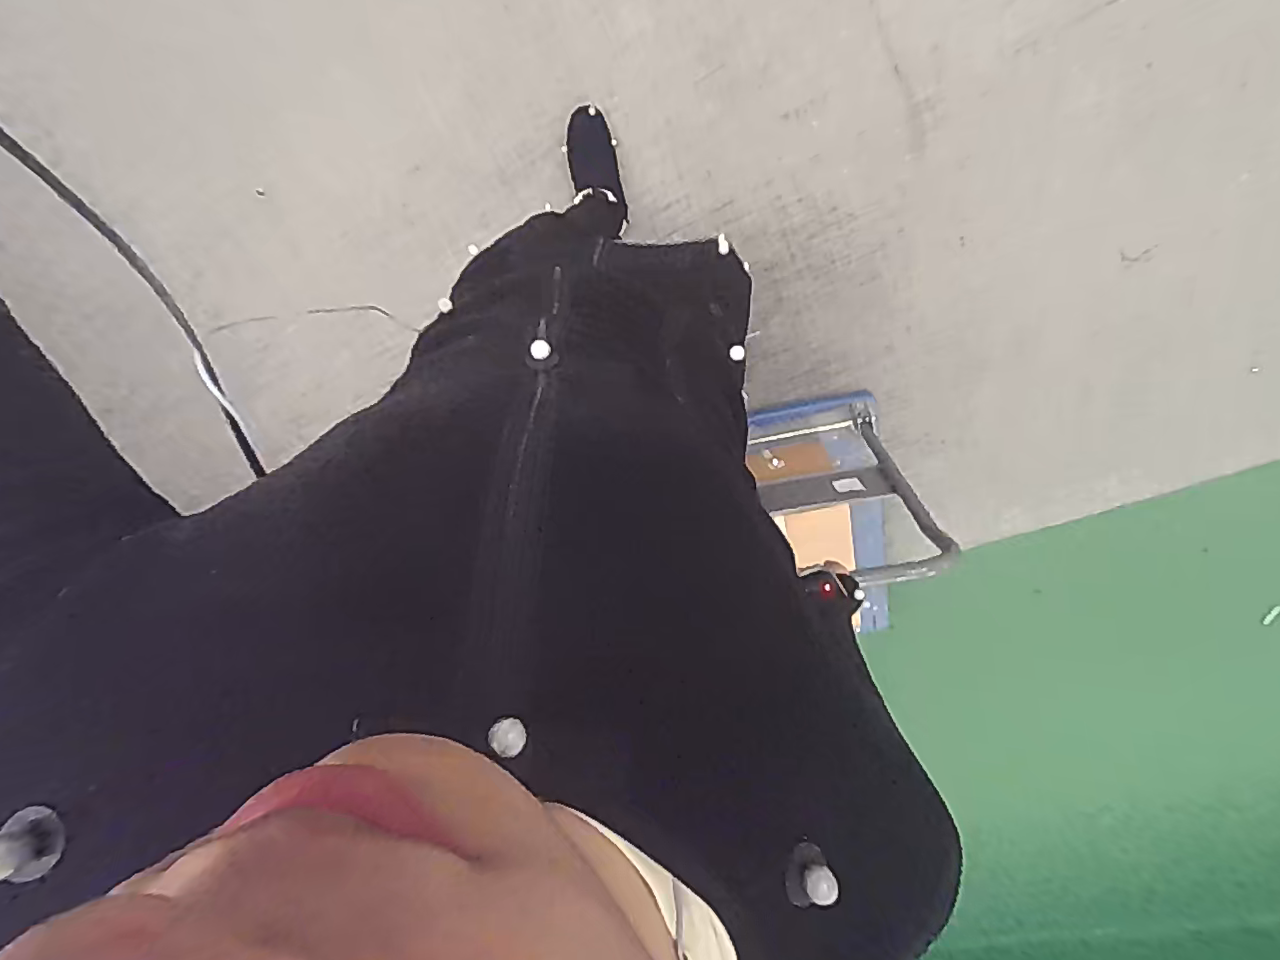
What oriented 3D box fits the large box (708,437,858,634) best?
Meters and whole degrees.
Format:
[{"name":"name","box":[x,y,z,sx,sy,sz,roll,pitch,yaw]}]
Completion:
[{"name":"large box","box":[0.381,0.150,1.475,0.320,0.320,0.408,-11,120,12]}]
